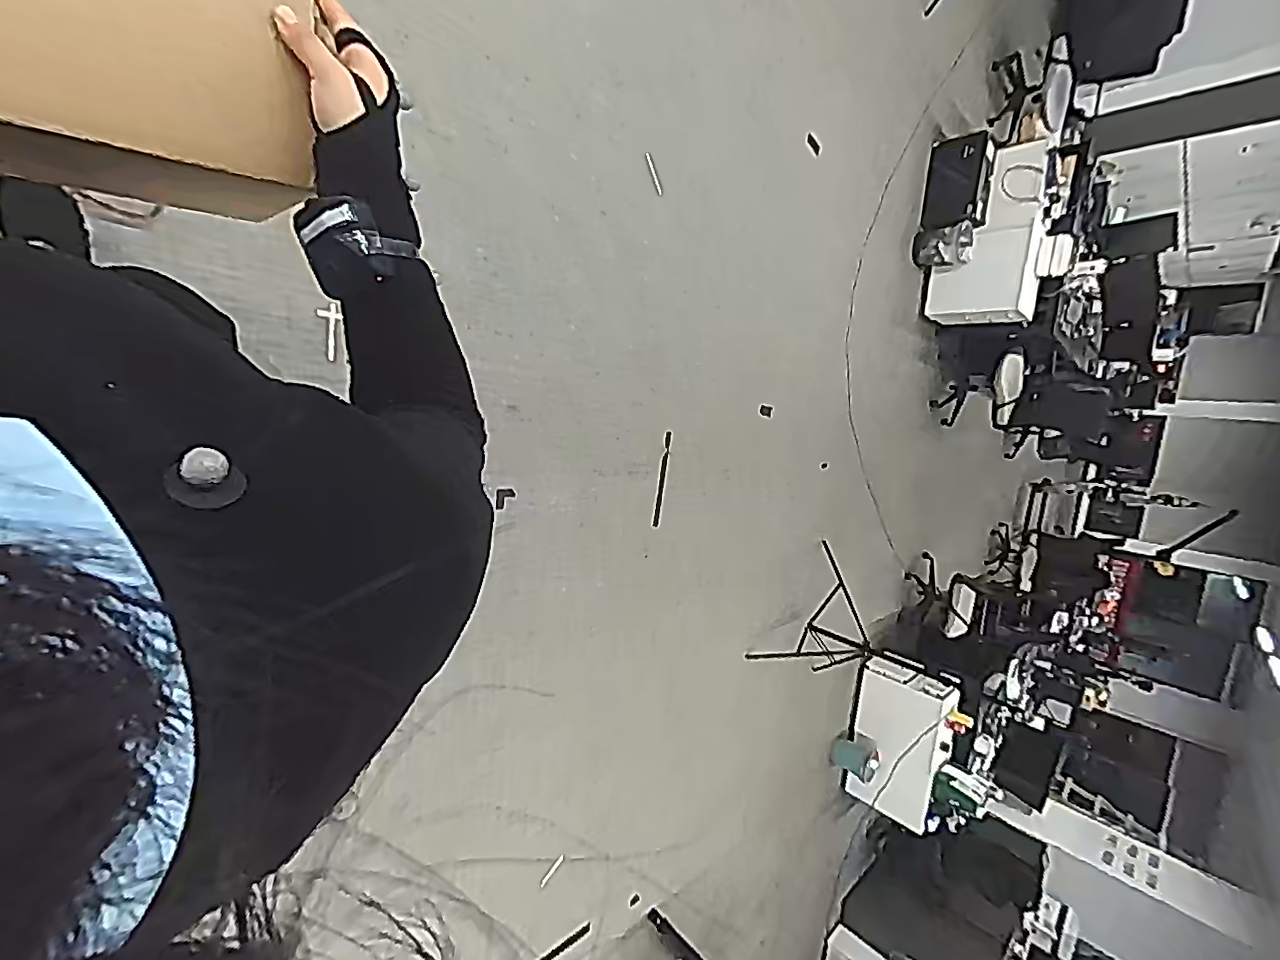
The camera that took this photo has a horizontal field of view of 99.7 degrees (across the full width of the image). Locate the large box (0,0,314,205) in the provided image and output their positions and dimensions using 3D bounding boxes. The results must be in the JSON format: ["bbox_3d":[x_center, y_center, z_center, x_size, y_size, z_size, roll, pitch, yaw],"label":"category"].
[{"bbox_3d":[-0.503,-0.413,0.385,0.408,0.320,0.320,-8,109,-41],"label":"large box"}]
